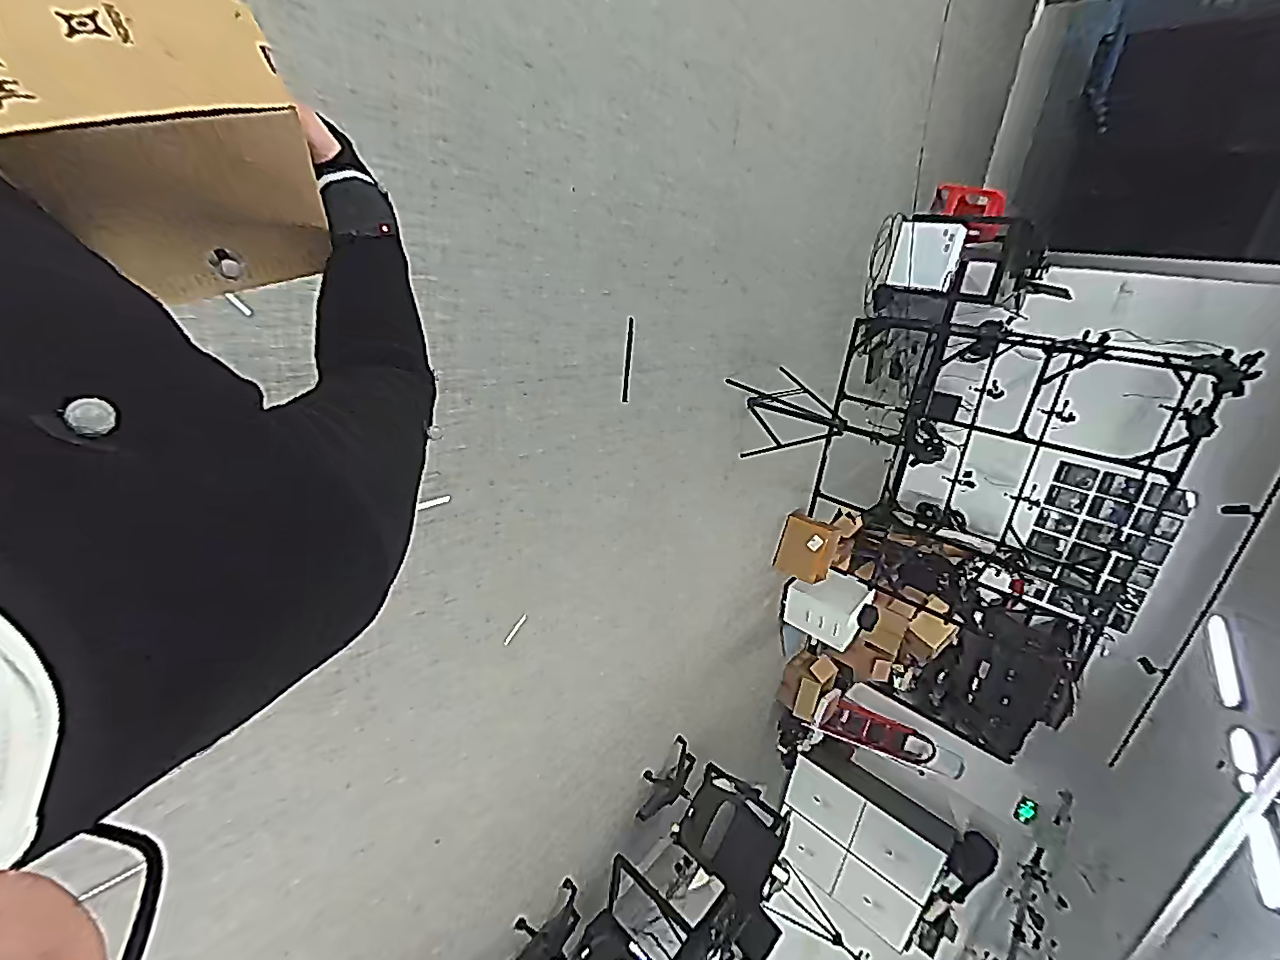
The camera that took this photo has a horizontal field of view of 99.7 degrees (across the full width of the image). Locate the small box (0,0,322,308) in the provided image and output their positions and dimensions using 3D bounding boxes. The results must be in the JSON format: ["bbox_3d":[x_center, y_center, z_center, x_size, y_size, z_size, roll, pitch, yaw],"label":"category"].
[{"bbox_3d":[-0.387,-0.272,0.443,0.179,0.168,0.176,-27,170,-26],"label":"small box"}]
